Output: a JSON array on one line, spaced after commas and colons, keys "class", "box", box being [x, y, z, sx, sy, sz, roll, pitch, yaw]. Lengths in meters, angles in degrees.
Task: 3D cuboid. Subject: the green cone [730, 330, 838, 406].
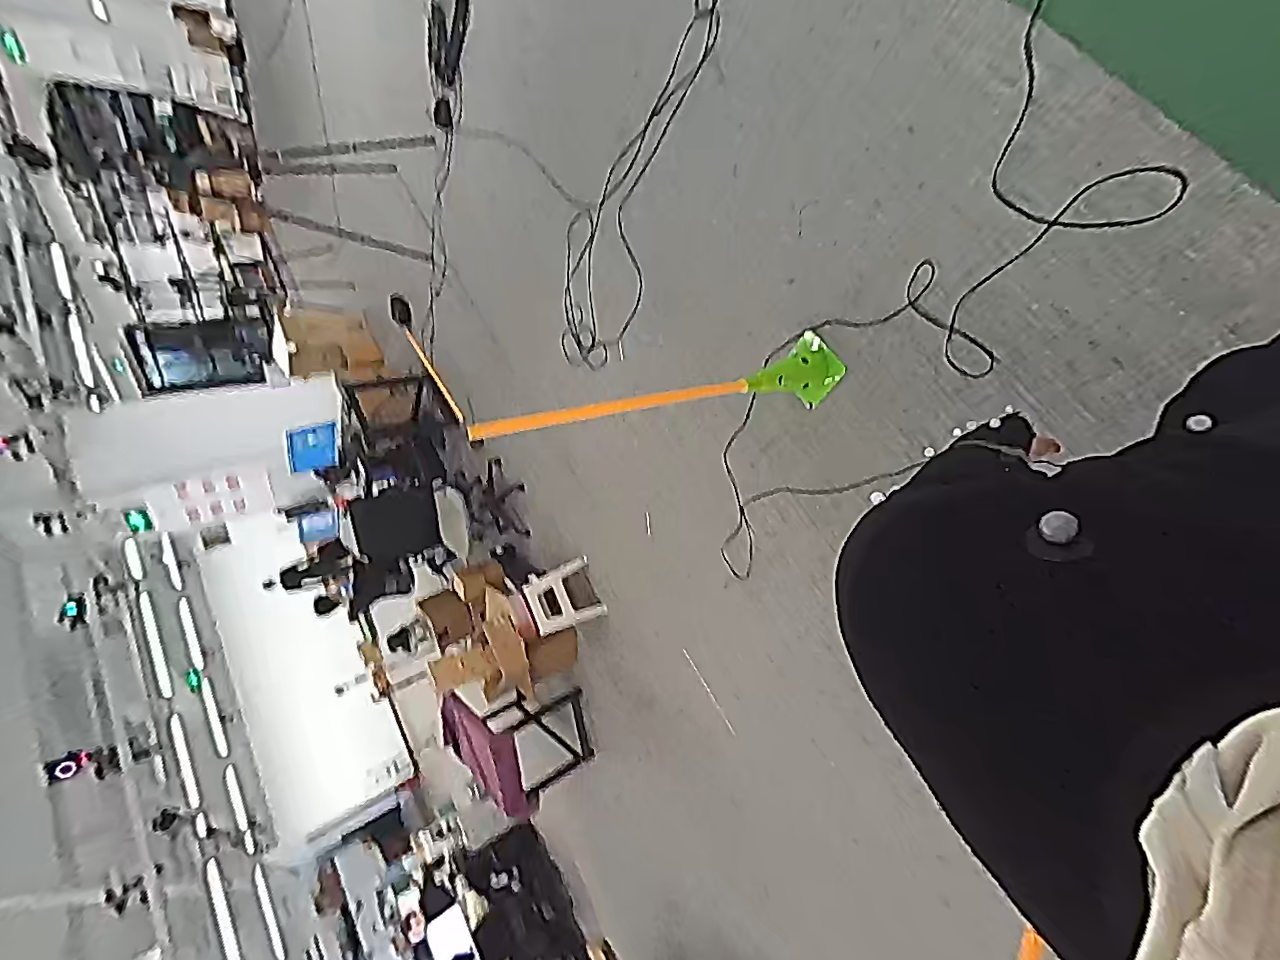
[{"class": "green cone", "box": [0.432, -0.343, 1.751, 0.202, 0.368, 0.200, 57, 141, 22]}]
